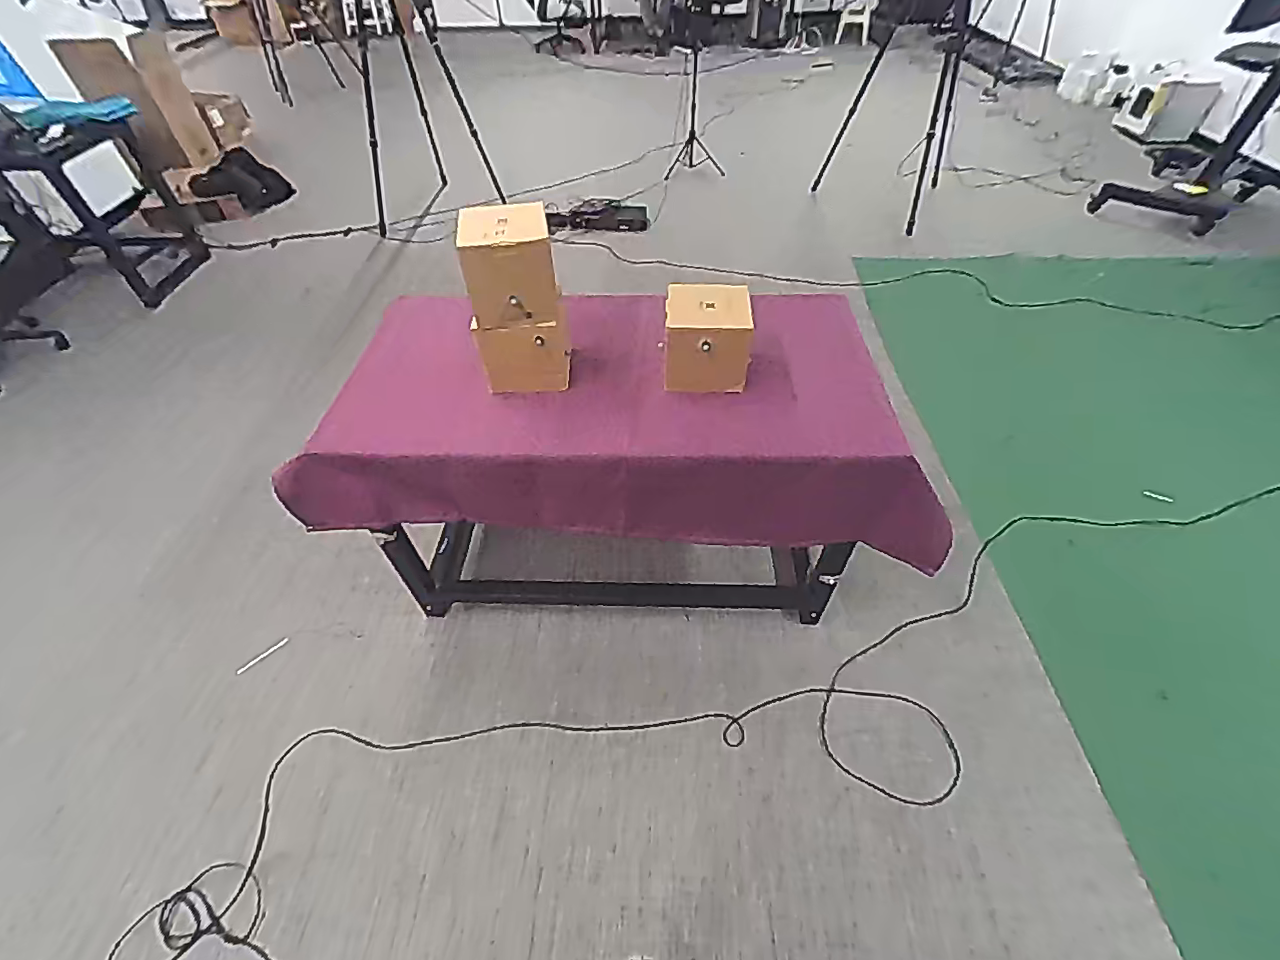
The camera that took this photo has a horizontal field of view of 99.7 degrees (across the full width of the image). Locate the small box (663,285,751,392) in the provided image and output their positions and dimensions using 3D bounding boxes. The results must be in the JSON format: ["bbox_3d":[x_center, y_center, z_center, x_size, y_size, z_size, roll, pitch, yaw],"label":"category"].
[{"bbox_3d":[0.141,-0.306,1.178,0.179,0.176,0.168,2,49,3],"label":"small box"}]

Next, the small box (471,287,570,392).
[{"bbox_3d":[-0.255,-0.307,1.194,0.179,0.176,0.168,-2,48,-2],"label":"small box"}]

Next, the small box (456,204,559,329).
[{"bbox_3d":[-0.258,-0.425,1.078,0.168,0.176,0.179,-9,49,-6],"label":"small box"}]
